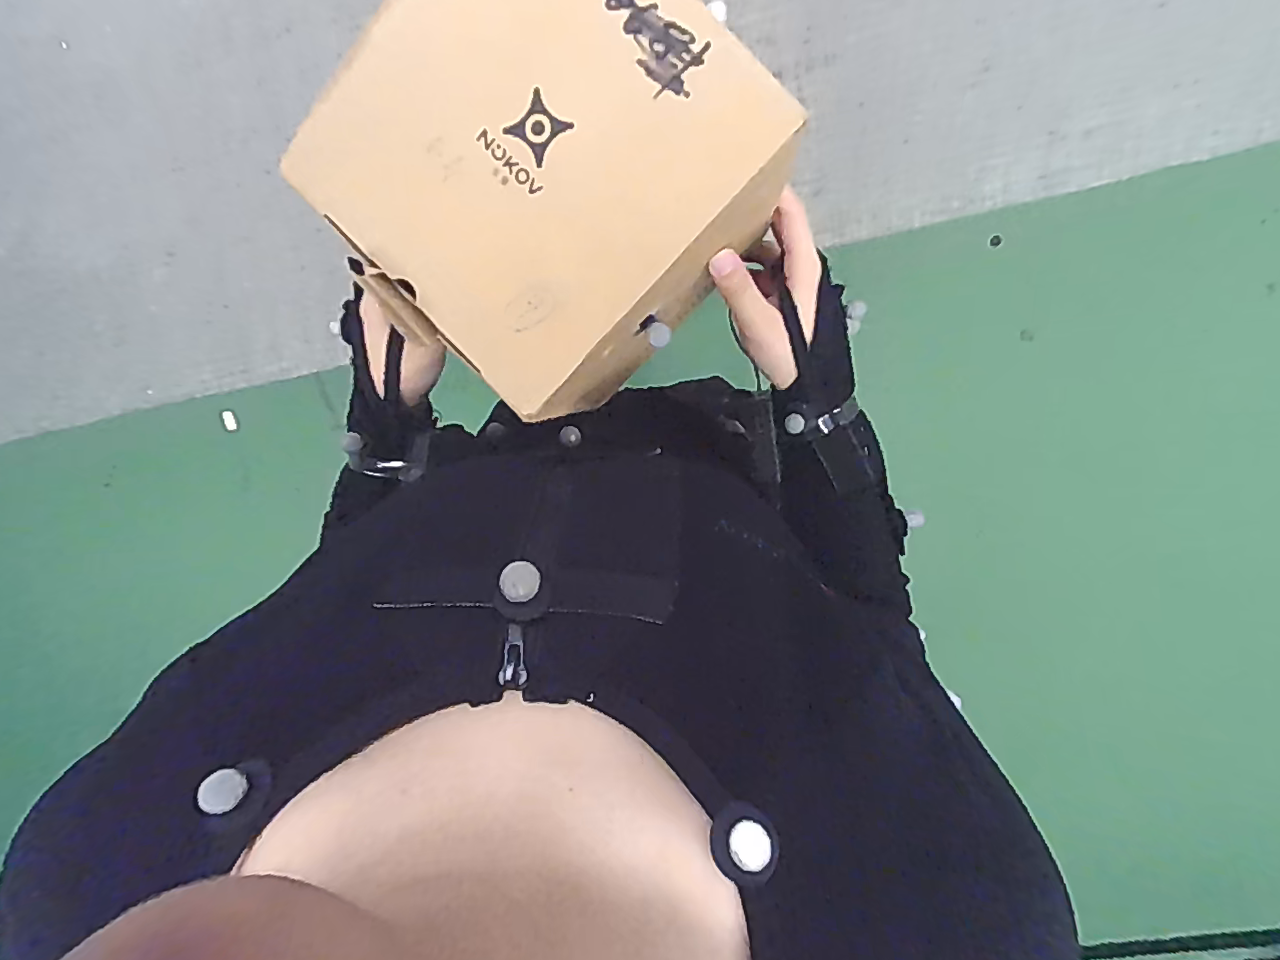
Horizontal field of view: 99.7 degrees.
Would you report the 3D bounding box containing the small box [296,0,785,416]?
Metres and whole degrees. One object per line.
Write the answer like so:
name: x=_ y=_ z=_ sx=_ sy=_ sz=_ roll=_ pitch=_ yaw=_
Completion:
small box: x=-0.040 y=-0.158 z=0.320 sx=0.168 sy=0.176 sz=0.179 roll=45 pitch=103 yaw=-2
